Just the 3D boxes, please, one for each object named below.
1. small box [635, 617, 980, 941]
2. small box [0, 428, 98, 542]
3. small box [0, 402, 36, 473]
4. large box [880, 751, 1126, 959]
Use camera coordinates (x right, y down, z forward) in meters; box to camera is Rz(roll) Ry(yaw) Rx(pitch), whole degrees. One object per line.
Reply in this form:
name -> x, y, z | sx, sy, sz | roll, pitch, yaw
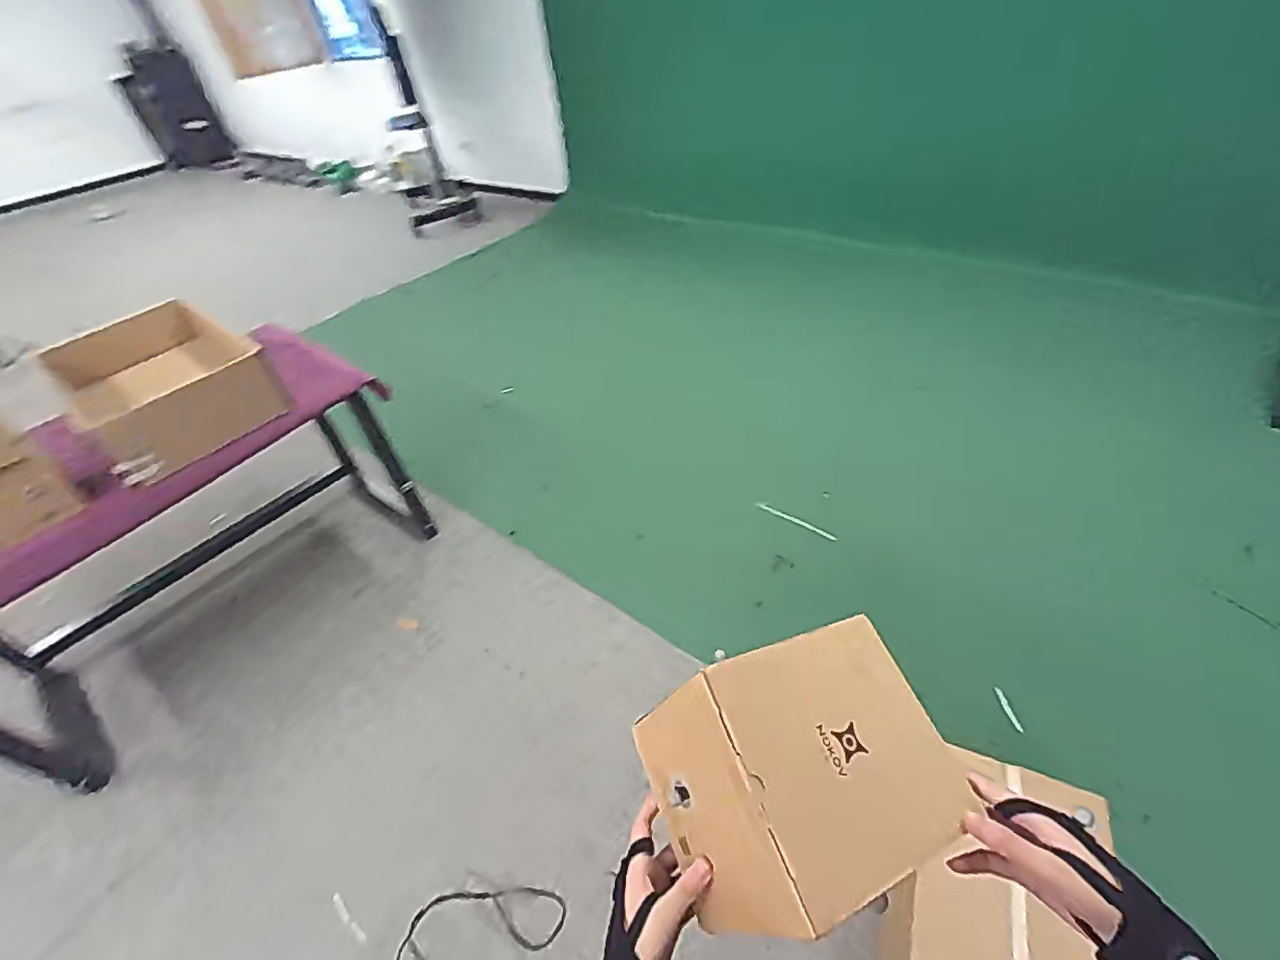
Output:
small box -> 0.120, 0.240, 0.451 | 0.179, 0.176, 0.168 | -9, 56, -28
small box -> -1.398, 0.015, 1.229 | 0.179, 0.176, 0.168 | 26, 52, 33
small box -> -1.410, -0.096, 1.110 | 0.168, 0.176, 0.179 | 27, 52, 33
large box -> 0.667, 0.821, 1.040 | 0.320, 0.320, 0.408 | 14, 46, 21
